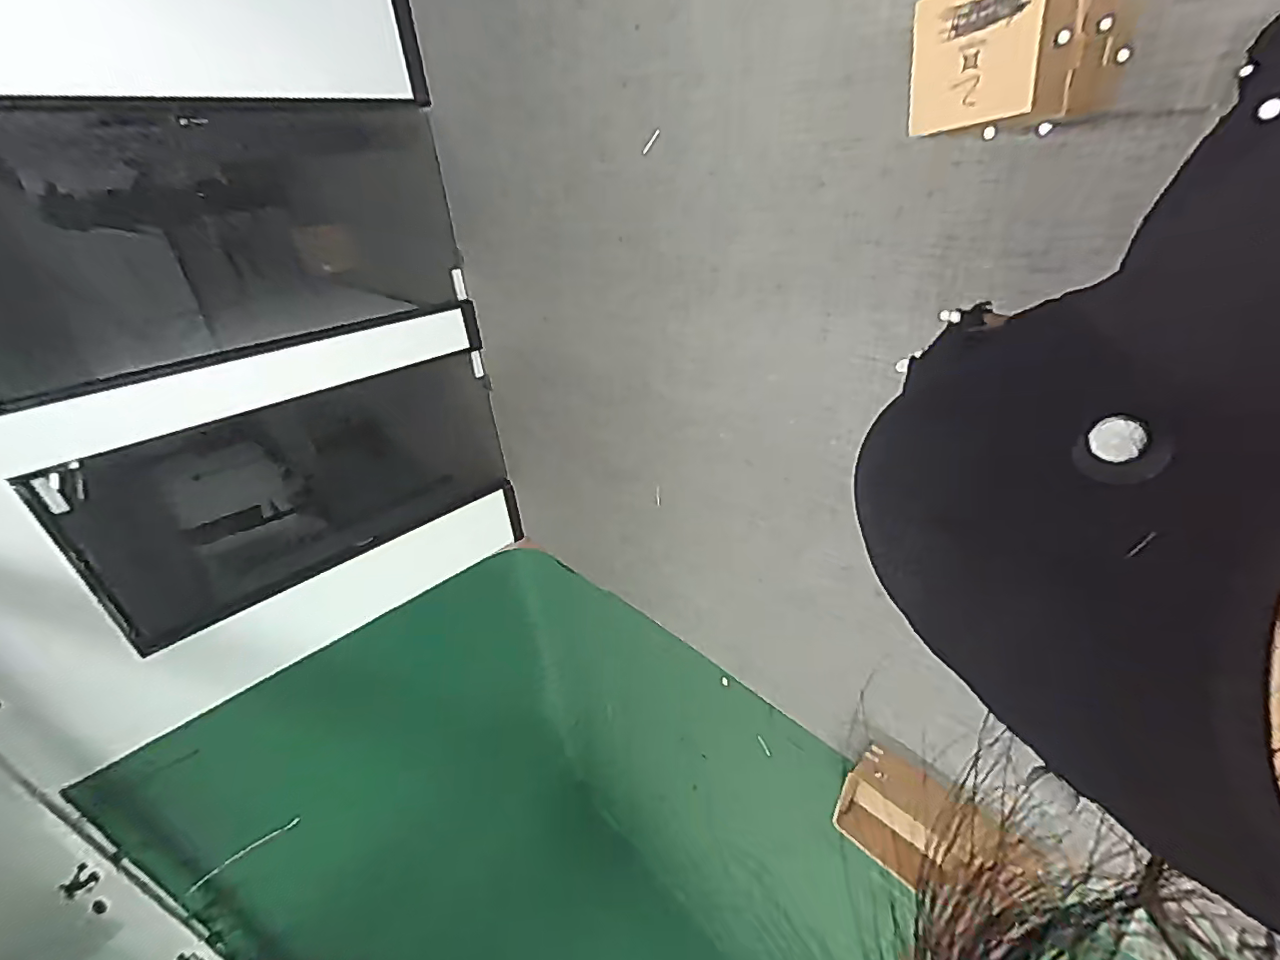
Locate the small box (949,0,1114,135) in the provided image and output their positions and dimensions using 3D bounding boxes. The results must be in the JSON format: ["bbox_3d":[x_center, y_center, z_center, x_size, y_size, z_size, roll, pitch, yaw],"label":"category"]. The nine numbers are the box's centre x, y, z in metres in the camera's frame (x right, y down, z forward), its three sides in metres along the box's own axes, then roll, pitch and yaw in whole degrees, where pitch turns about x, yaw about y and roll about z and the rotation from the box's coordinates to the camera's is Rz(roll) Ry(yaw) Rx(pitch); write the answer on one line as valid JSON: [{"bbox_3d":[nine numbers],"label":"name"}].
[{"bbox_3d":[0.659,-0.695,0.914,0.179,0.176,0.168,22,128,44],"label":"small box"}]

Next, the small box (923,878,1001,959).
[{"bbox_3d":[1.065,1.493,1.804,0.179,0.176,0.168,29,133,40],"label":"small box"}]

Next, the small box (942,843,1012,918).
[{"bbox_3d":[1.181,1.436,1.906,0.168,0.176,0.179,27,132,39],"label":"small box"}]

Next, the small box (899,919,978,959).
[{"bbox_3d":[0.938,1.550,1.715,0.179,0.176,0.168,28,133,39],"label":"small box"}]

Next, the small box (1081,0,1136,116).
[{"bbox_3d":[0.775,-0.768,1.002,0.179,0.176,0.168,23,130,41],"label":"small box"}]
